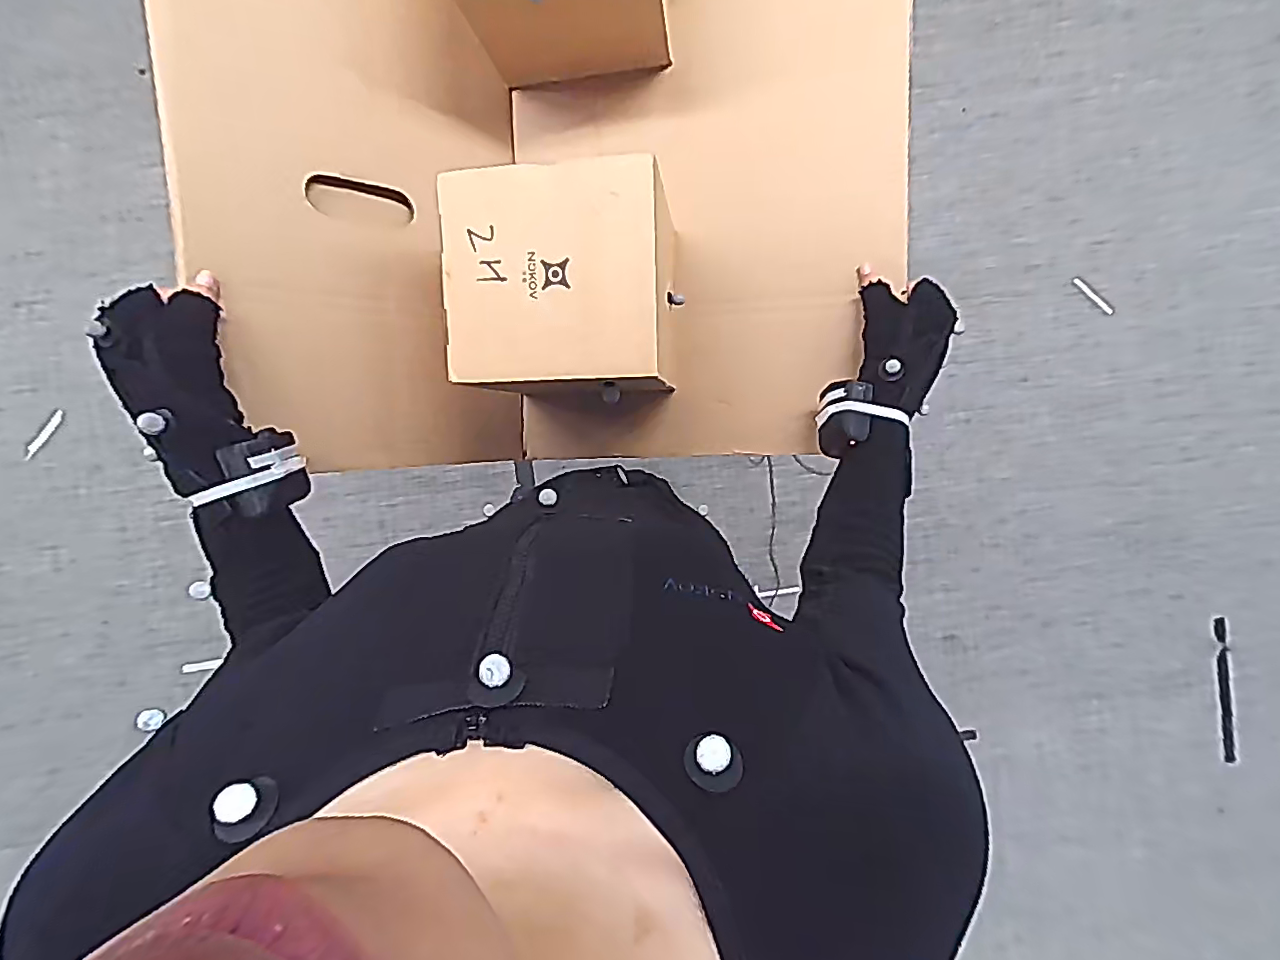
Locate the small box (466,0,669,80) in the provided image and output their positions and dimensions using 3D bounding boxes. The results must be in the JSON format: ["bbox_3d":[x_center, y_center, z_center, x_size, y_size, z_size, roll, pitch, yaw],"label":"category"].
[{"bbox_3d":[-0.071,-0.493,0.477,0.179,0.176,0.168,-1,96,9],"label":"small box"}]
